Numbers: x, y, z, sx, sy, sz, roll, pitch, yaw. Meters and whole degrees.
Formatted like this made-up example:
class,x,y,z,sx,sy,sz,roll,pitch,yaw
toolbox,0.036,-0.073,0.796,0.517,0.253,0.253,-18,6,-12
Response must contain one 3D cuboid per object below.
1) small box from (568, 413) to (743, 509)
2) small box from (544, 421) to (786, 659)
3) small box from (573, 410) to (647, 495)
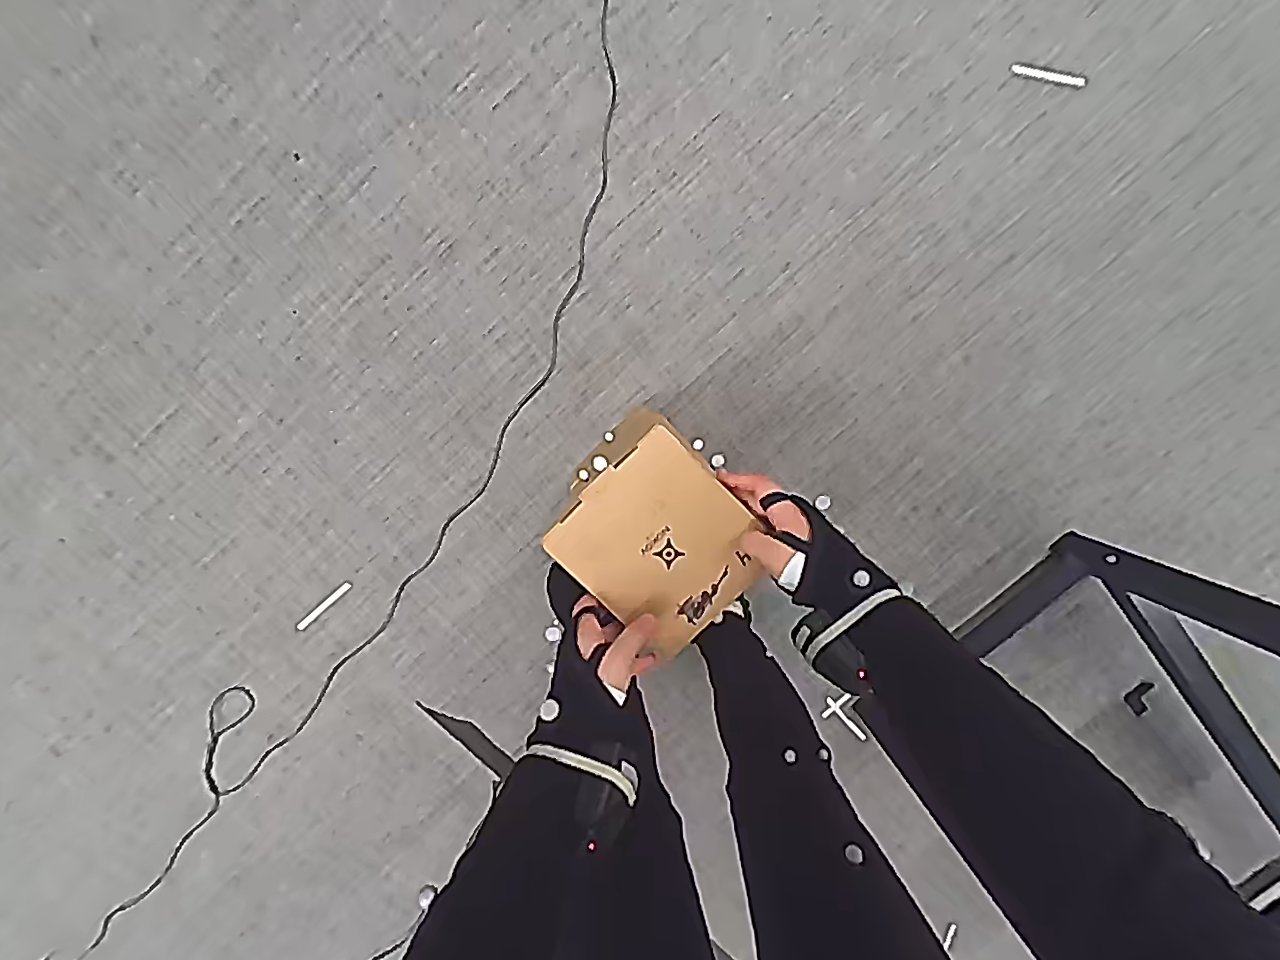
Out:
class,x,y,z,sx,sy,sz,roll,pitch,yaw
small box,0.016,0.022,0.777,0.168,0.176,0.179,41,95,-11
small box,0.025,0.052,0.594,0.179,0.176,0.168,44,98,-5
small box,0.002,-0.004,0.937,0.179,0.176,0.168,-45,101,6
